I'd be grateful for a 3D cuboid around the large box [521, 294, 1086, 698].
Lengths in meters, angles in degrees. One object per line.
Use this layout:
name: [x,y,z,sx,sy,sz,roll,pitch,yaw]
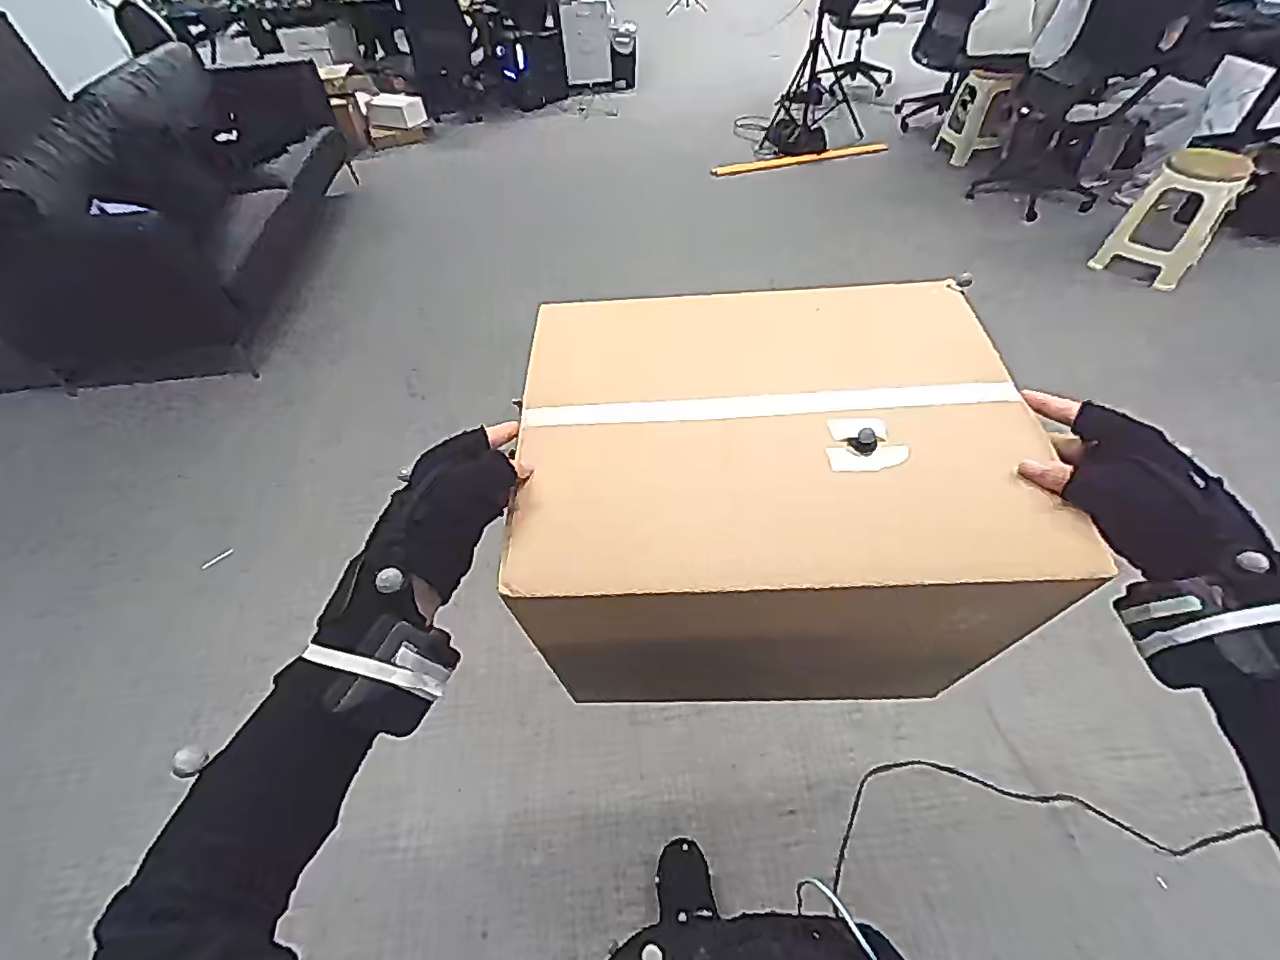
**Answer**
large box: [0.114,0.032,0.582,0.408,0.320,0.320,-2,55,2]
